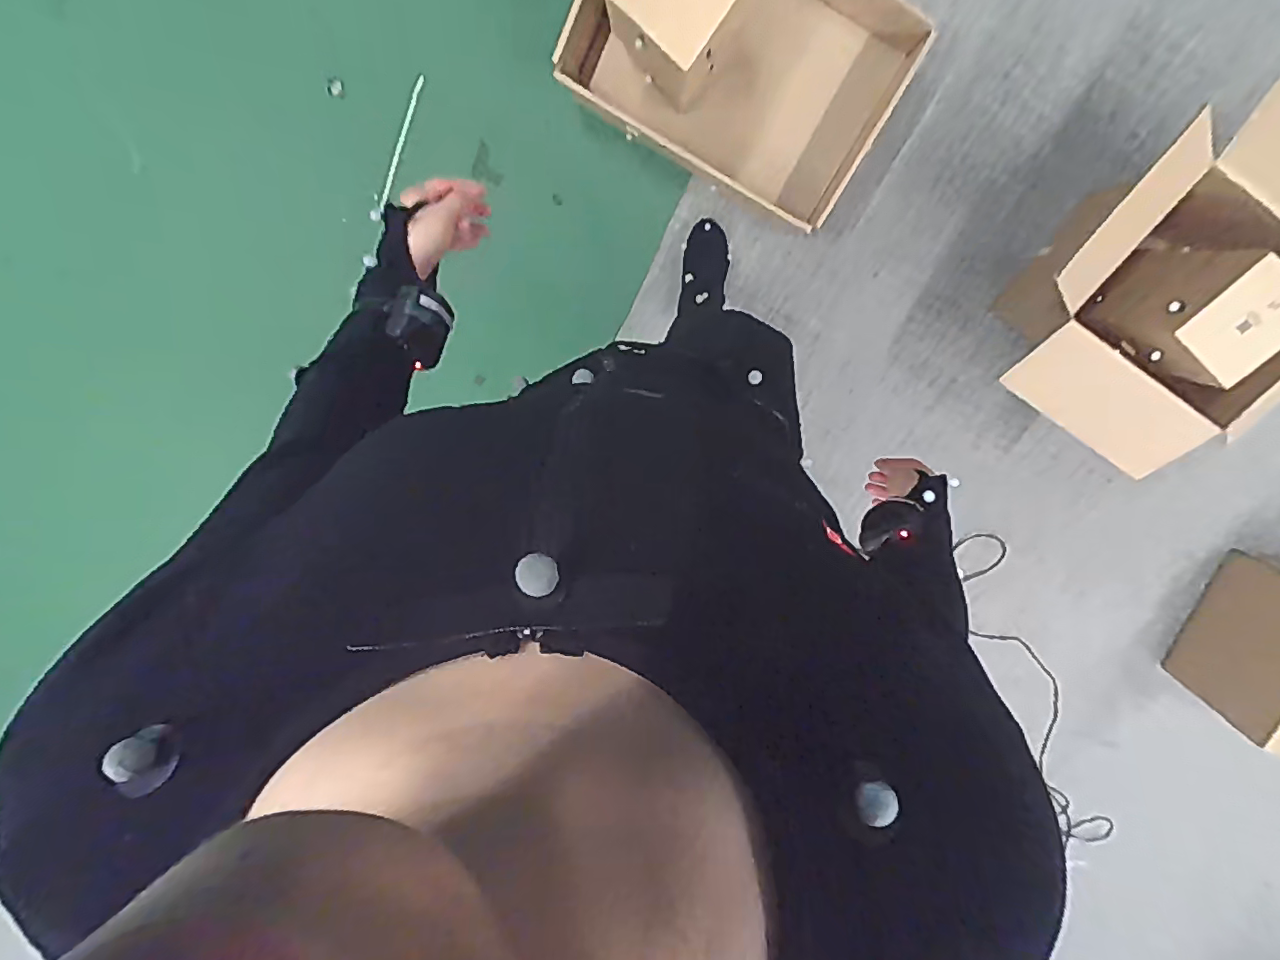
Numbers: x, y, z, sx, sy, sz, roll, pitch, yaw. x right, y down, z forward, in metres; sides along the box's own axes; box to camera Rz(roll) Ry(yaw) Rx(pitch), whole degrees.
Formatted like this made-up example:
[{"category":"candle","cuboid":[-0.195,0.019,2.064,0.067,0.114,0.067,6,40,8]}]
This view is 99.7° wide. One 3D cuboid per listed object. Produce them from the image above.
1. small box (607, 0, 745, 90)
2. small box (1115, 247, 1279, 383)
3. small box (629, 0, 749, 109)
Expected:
[{"category":"small box","cuboid":[0.065,-0.799,0.906,0.179,0.176,0.168,38,108,-10]},{"category":"small box","cuboid":[1.067,-0.316,1.028,0.168,0.176,0.179,36,110,-12]},{"category":"small box","cuboid":[0.083,-0.875,1.050,0.168,0.176,0.179,42,108,-12]}]
